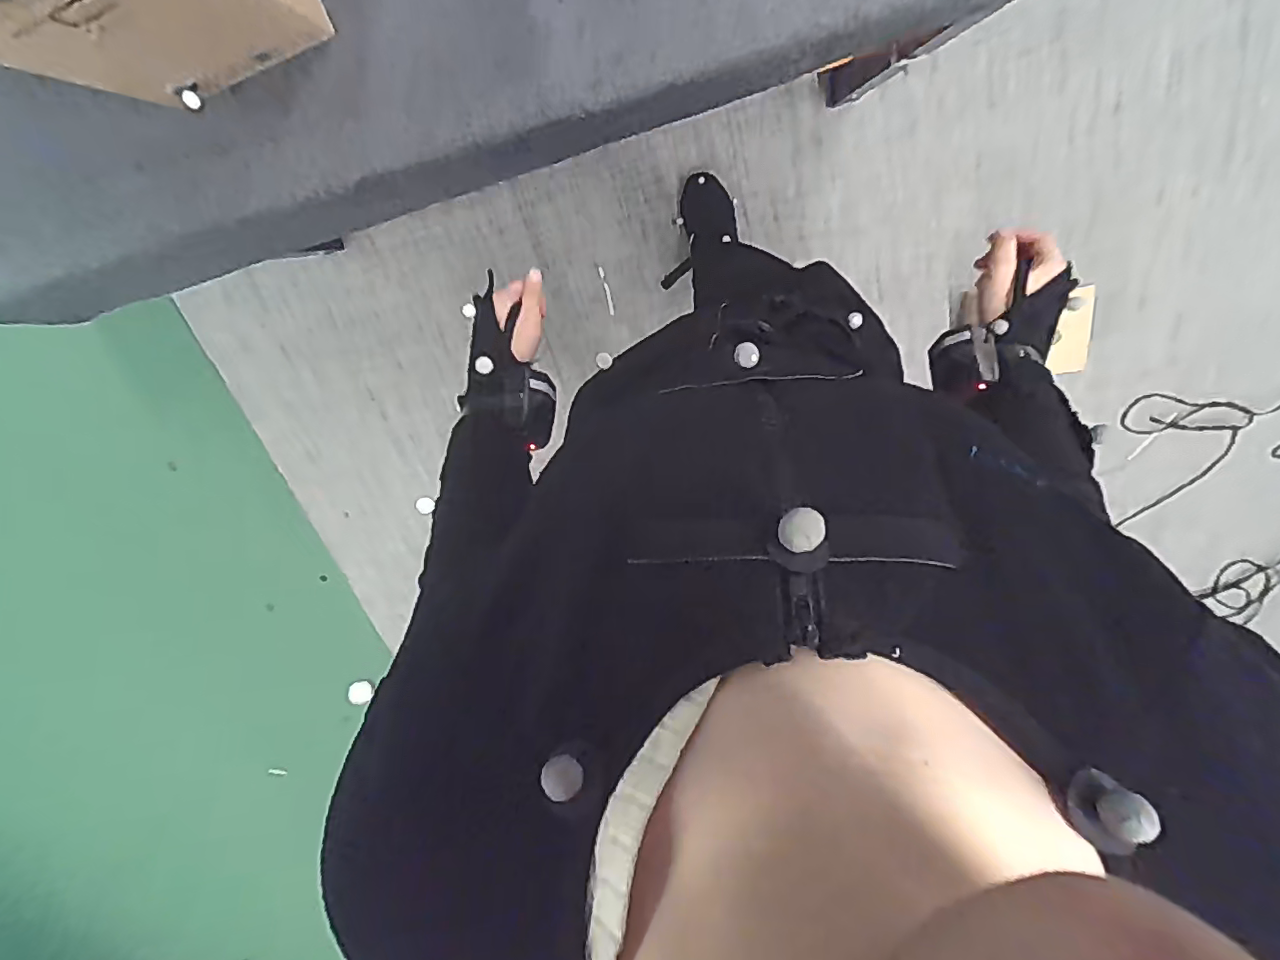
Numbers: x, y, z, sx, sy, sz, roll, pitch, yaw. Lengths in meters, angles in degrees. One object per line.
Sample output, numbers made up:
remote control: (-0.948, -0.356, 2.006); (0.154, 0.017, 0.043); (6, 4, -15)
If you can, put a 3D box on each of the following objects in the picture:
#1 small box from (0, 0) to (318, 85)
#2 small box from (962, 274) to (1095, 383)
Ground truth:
small box: (-0.366, -0.400, 0.364); (0.168, 0.176, 0.179); (-16, 113, 9)
small box: (0.820, -0.330, 1.163); (0.168, 0.176, 0.179); (-10, 116, 7)
